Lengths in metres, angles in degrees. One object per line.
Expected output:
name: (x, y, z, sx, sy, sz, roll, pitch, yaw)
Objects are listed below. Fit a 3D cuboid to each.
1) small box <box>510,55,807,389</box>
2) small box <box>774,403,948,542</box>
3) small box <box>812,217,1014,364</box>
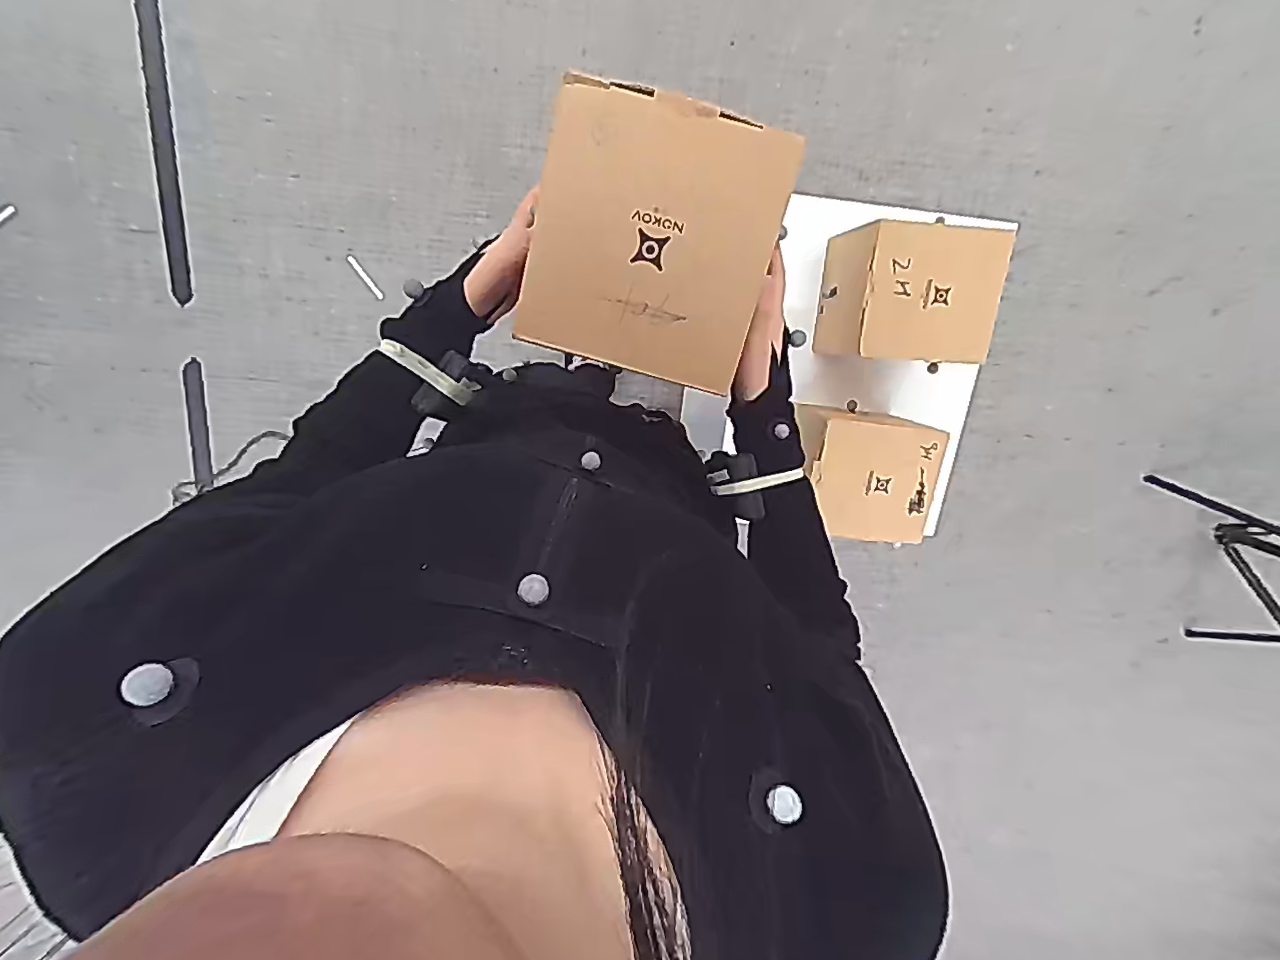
small box: (0.011, -0.189, 0.444, 0.168, 0.176, 0.179, 16, 106, -1)
small box: (0.319, -0.021, 0.822, 0.179, 0.176, 0.168, 7, 104, -4)
small box: (0.364, -0.257, 0.755, 0.179, 0.176, 0.168, 3, 105, -3)
